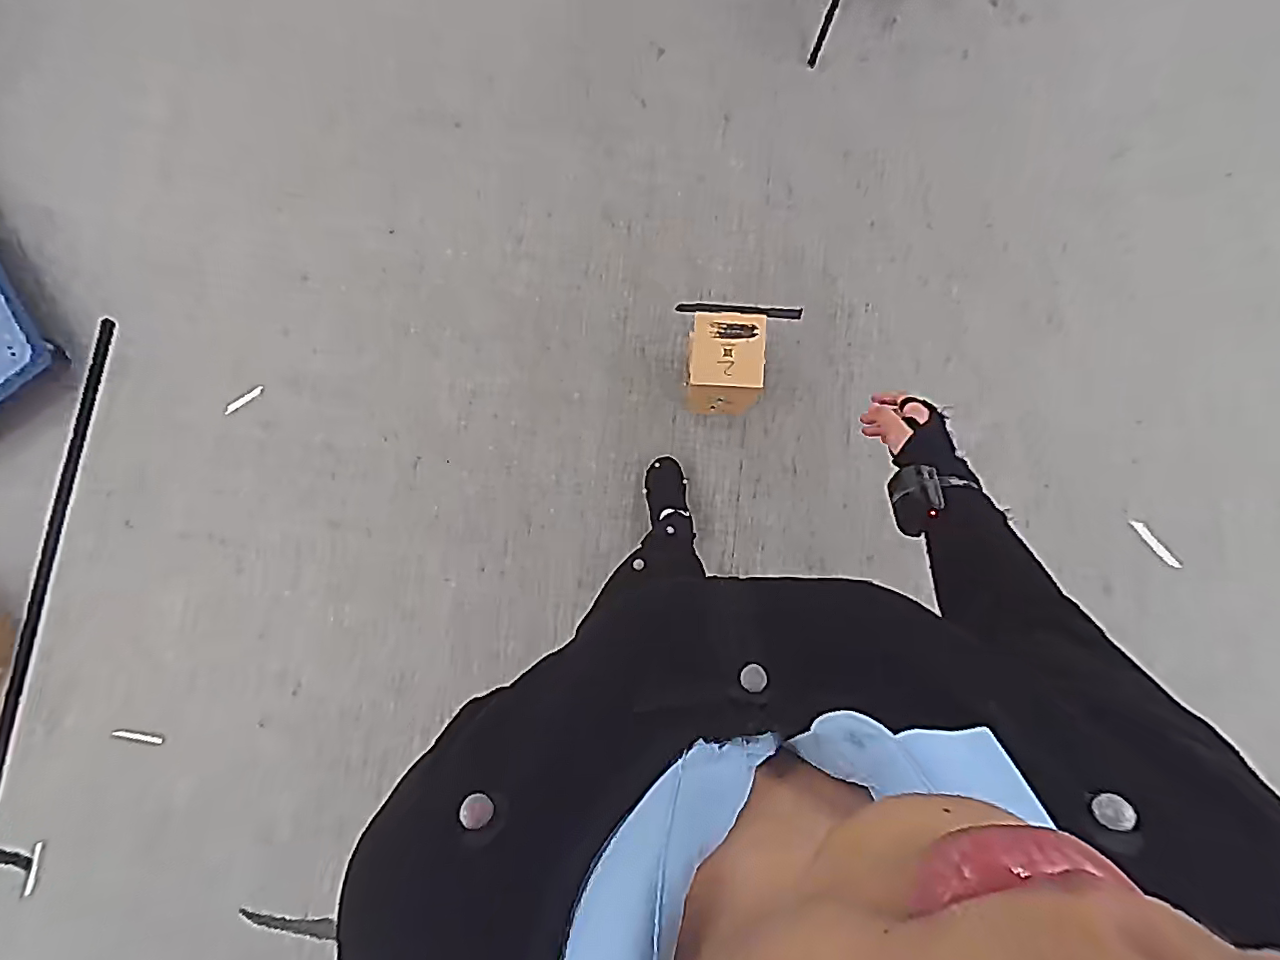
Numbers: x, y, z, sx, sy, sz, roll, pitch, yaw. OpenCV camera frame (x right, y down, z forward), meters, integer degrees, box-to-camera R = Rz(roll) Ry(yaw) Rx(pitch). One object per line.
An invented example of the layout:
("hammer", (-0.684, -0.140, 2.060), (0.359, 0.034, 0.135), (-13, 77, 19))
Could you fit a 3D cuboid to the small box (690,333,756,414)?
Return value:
("small box", (0.222, -0.286, 1.471), (0.168, 0.176, 0.179), (1, 83, 5))
